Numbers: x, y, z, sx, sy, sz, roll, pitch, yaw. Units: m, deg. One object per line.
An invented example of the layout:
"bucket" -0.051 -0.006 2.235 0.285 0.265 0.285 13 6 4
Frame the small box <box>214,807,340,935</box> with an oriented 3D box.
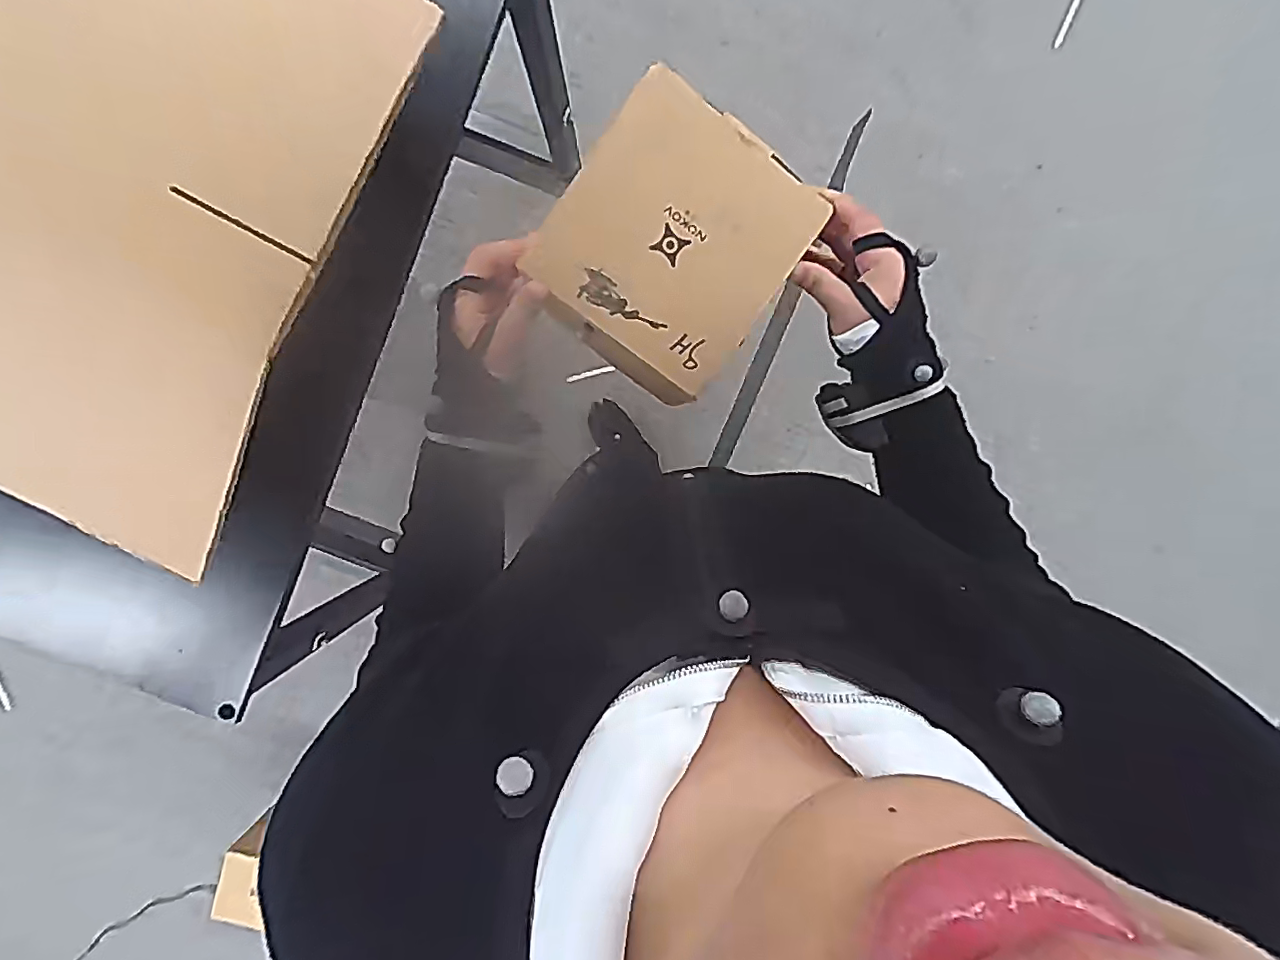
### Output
"small box" -0.860 0.928 1.298 0.179 0.176 0.168 15 93 -1
